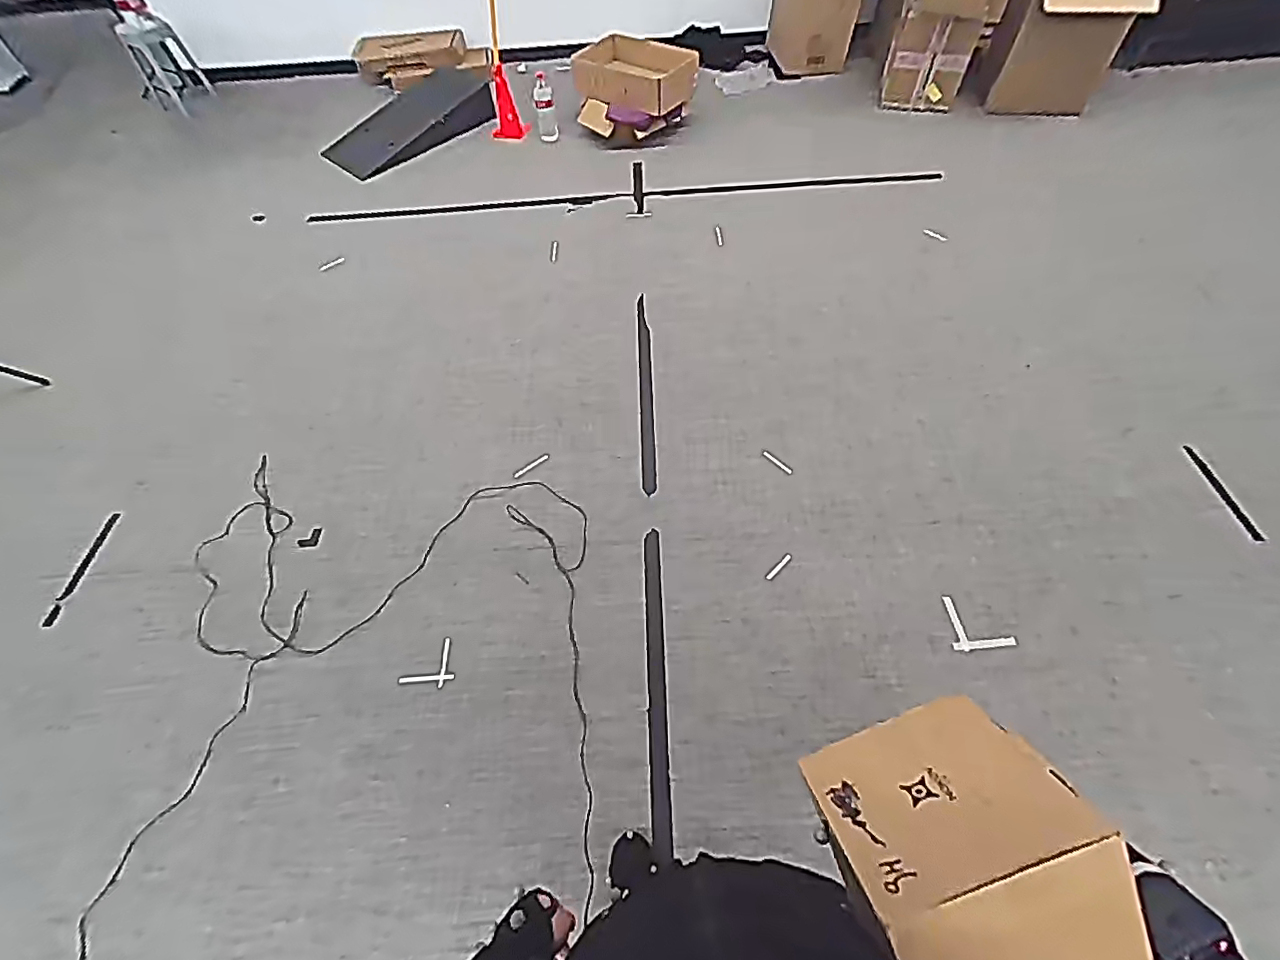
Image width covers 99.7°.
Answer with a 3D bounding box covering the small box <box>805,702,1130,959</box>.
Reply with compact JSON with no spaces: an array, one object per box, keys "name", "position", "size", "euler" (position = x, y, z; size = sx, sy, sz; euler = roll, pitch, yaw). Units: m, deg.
[{"name":"small box","position":[0.275,0.339,0.473],"size":[0.179,0.168,0.176],"euler":[-22,101,0]}]
